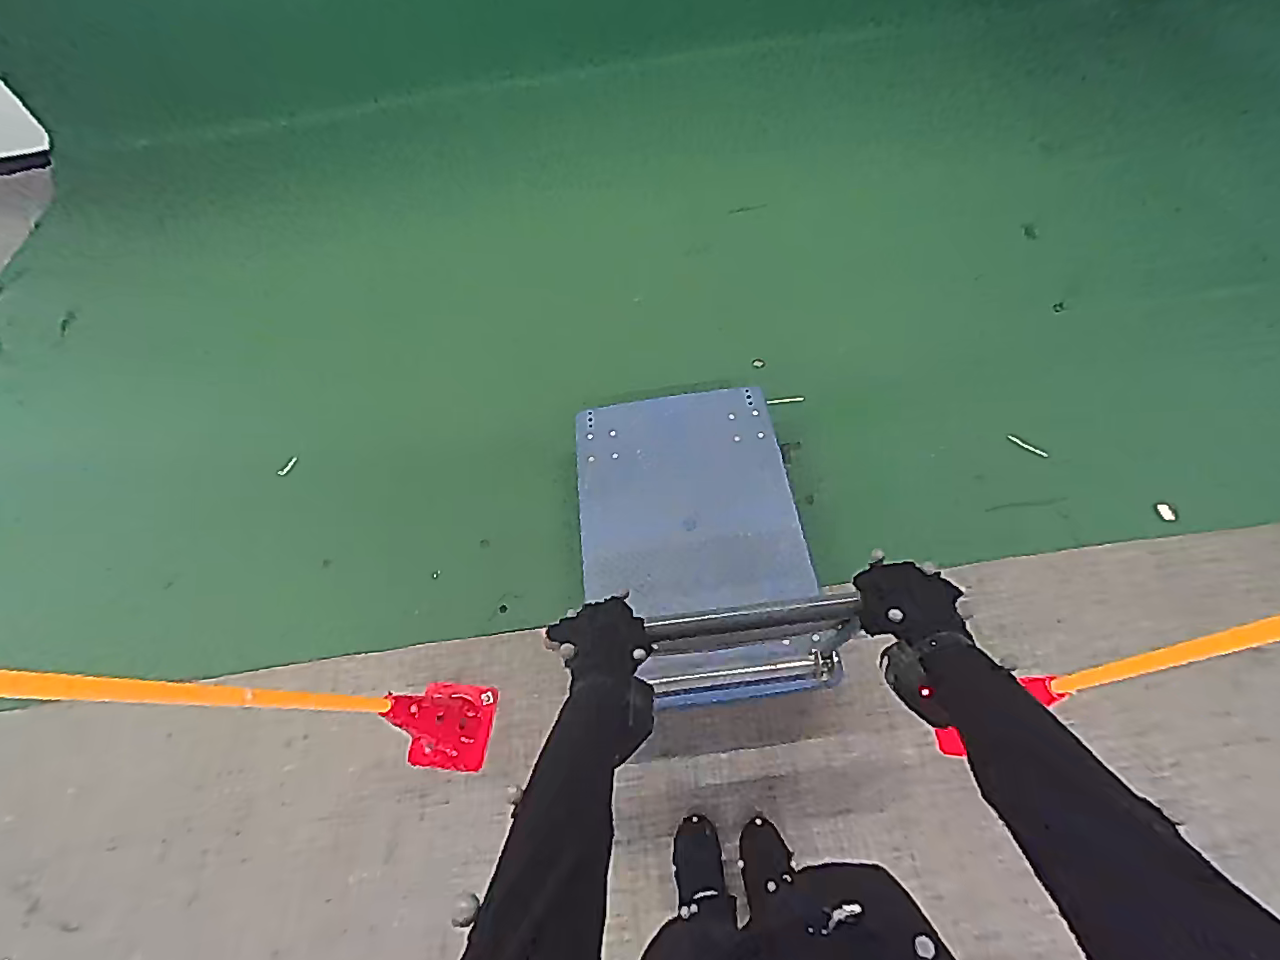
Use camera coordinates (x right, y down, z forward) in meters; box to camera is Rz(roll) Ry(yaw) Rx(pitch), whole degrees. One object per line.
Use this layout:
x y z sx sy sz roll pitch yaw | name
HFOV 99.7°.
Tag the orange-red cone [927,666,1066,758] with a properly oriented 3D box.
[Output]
0.789 0.470 1.154 0.198 0.360 0.199 1 61 7 | orange-red cone
